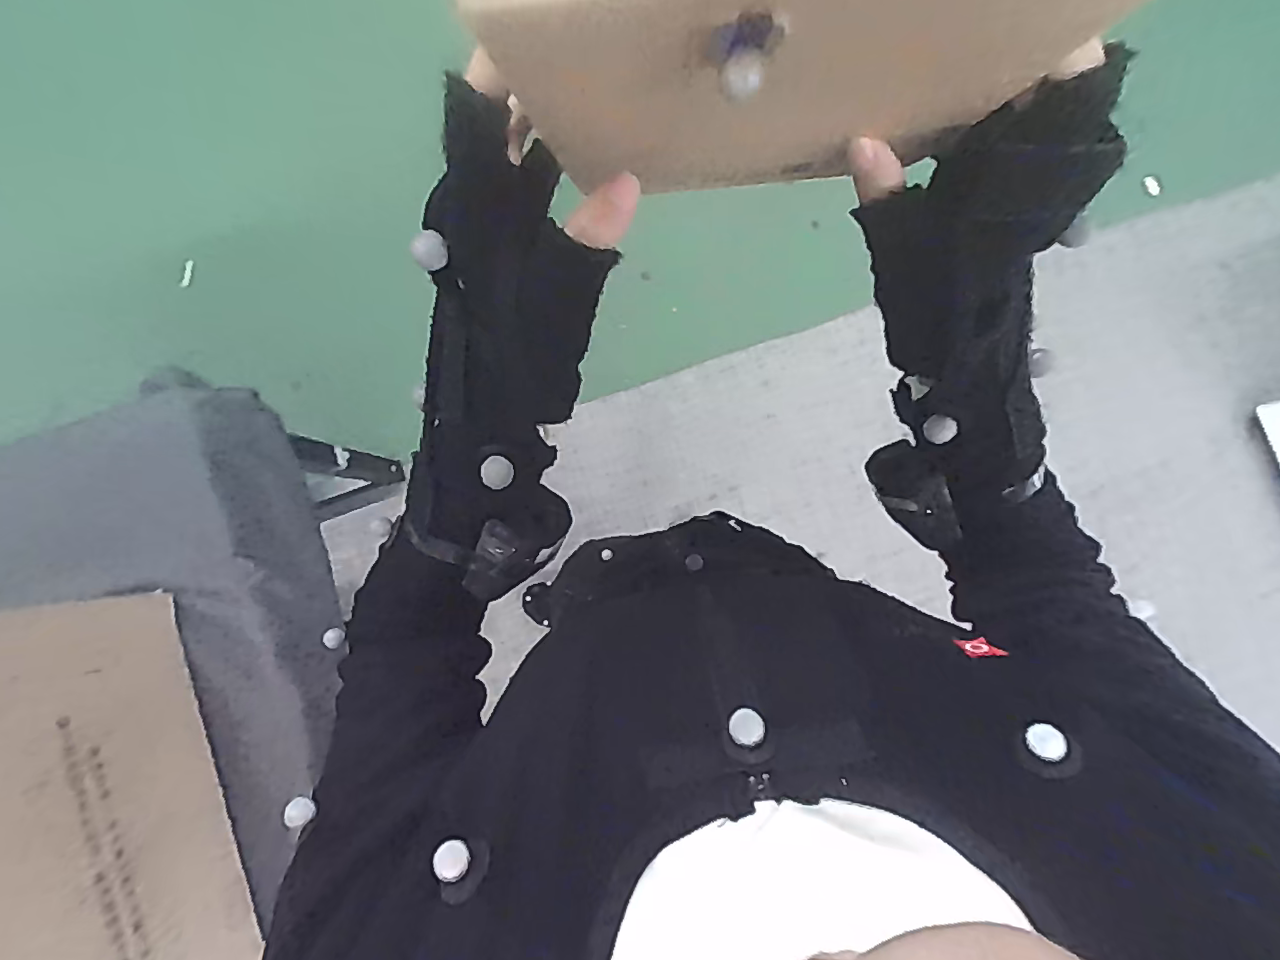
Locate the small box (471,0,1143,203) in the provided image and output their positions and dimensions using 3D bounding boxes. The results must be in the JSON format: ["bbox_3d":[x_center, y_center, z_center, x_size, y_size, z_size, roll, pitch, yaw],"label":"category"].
[{"bbox_3d":[0.041,-0.209,0.172,0.168,0.176,0.179,-3,104,6],"label":"small box"}]
